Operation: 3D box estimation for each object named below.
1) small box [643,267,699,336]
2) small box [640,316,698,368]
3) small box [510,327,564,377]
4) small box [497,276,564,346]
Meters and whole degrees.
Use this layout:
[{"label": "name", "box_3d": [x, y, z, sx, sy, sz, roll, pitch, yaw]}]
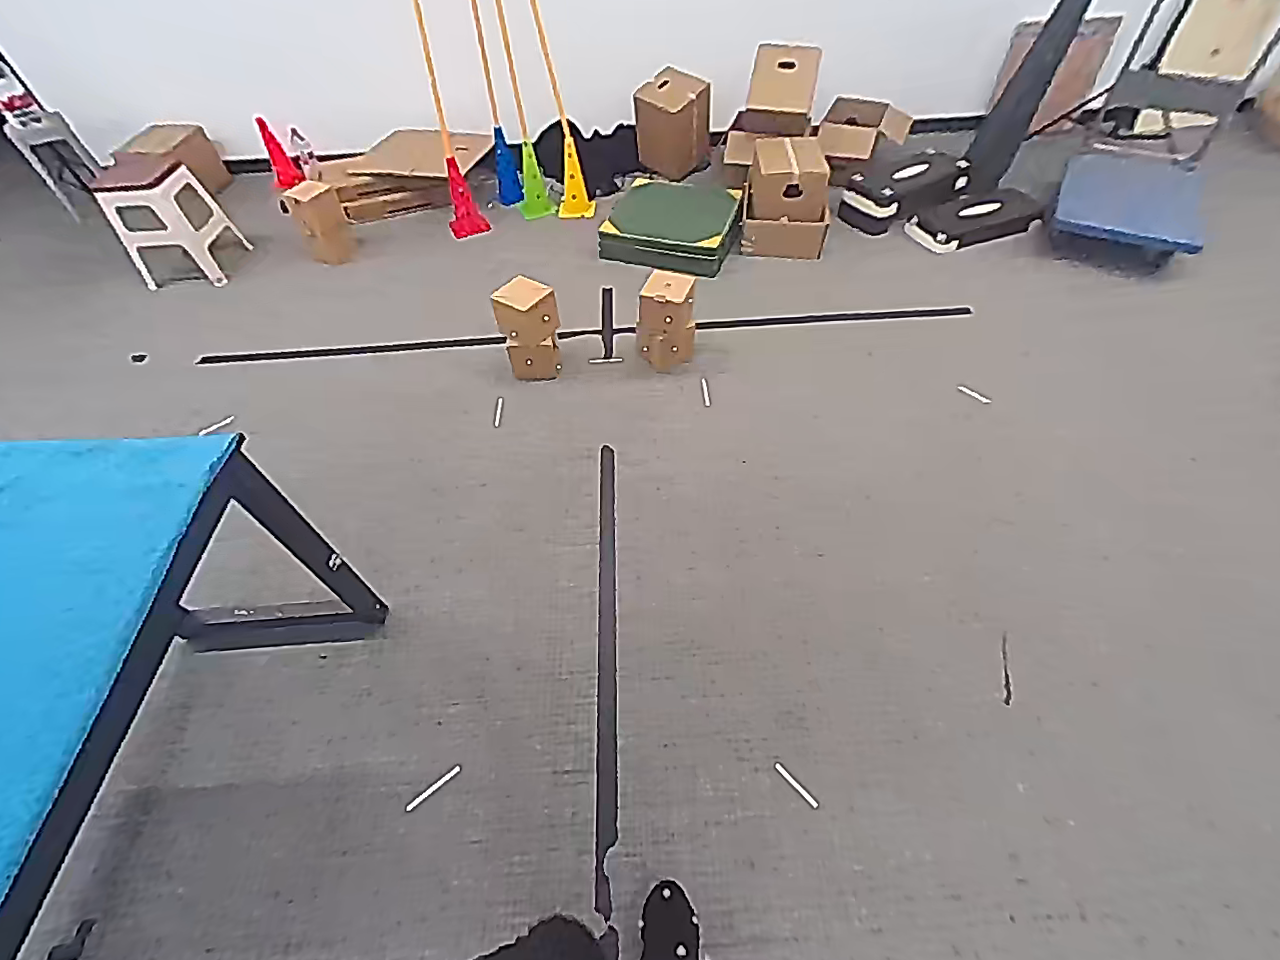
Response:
[{"label": "small box", "box_3d": [0.117, -0.671, 2.045, 0.168, 0.176, 0.179, 16, 54, 13]}, {"label": "small box", "box_3d": [0.117, -0.580, 2.184, 0.179, 0.176, 0.168, -30, 57, -20]}, {"label": "small box", "box_3d": [-0.406, -0.531, 2.168, 0.179, 0.176, 0.168, -2, 51, 2]}, {"label": "small box", "box_3d": [-0.416, -0.643, 2.044, 0.179, 0.176, 0.168, 25, 57, 19]}]
